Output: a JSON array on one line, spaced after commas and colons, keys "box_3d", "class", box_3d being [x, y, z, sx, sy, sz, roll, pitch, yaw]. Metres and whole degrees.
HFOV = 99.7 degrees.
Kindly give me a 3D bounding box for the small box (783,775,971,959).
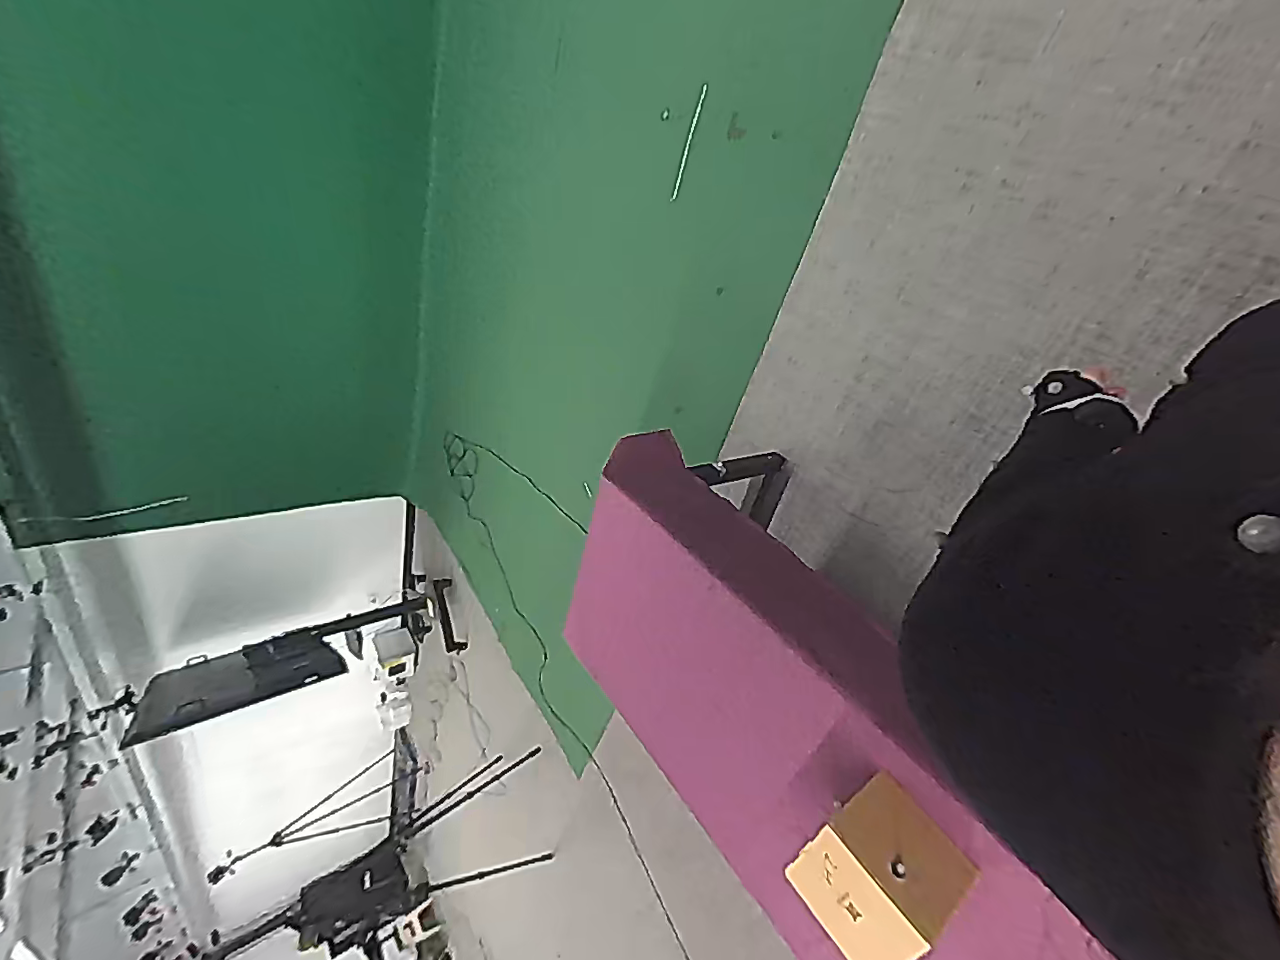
[{"box_3d": [0.364, 0.604, 0.834, 0.179, 0.176, 0.168, 45, 129, 36], "class": "small box"}]
